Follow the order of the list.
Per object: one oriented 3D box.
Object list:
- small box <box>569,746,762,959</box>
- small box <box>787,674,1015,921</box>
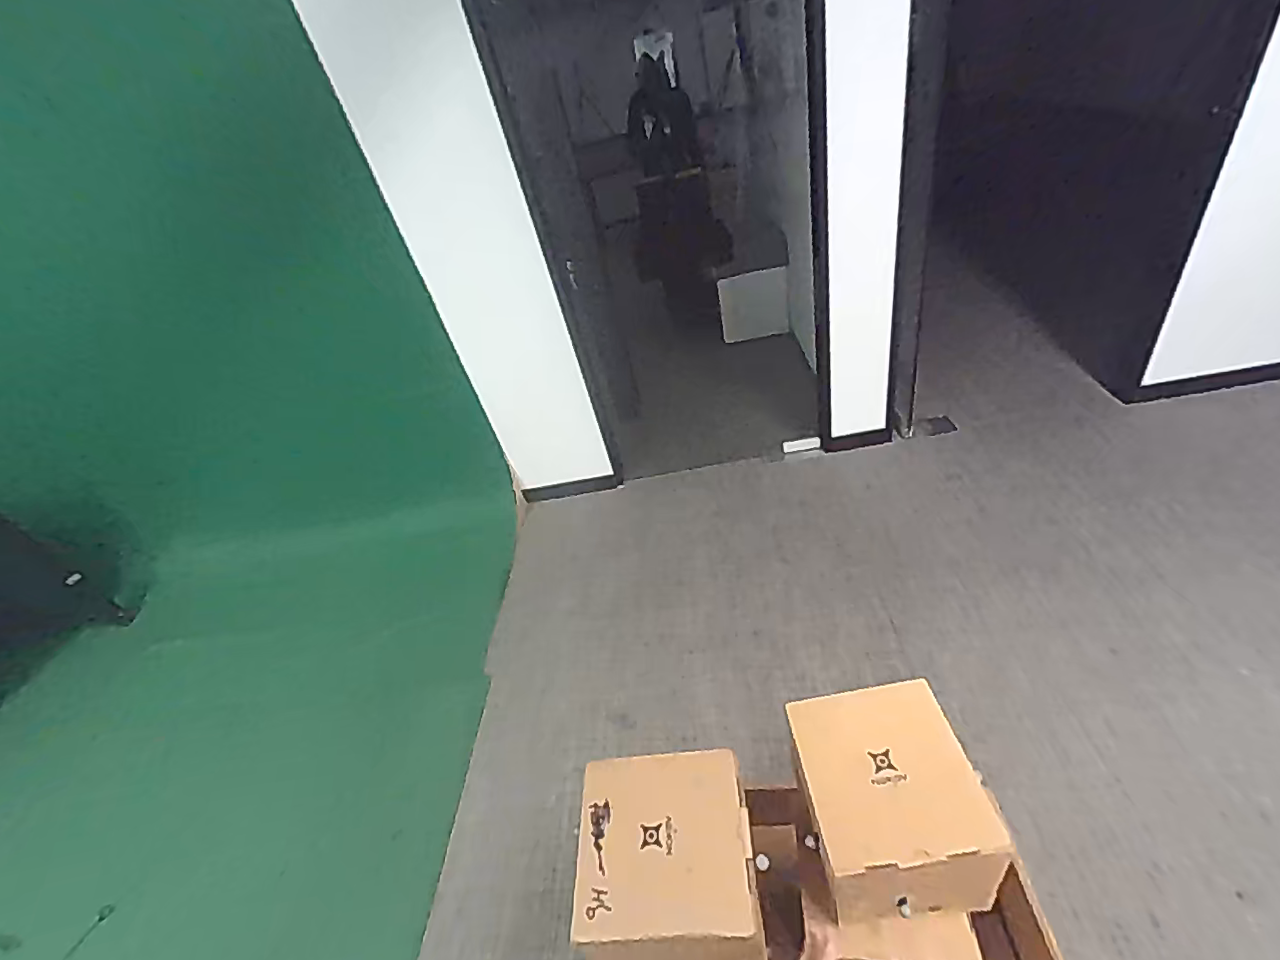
[{"bbox_3d":[0.037,0.419,0.598,0.179,0.176,0.168,-9,37,8],"label":"small box"},{"bbox_3d":[0.270,0.351,0.603,0.168,0.176,0.179,-13,36,6],"label":"small box"}]
